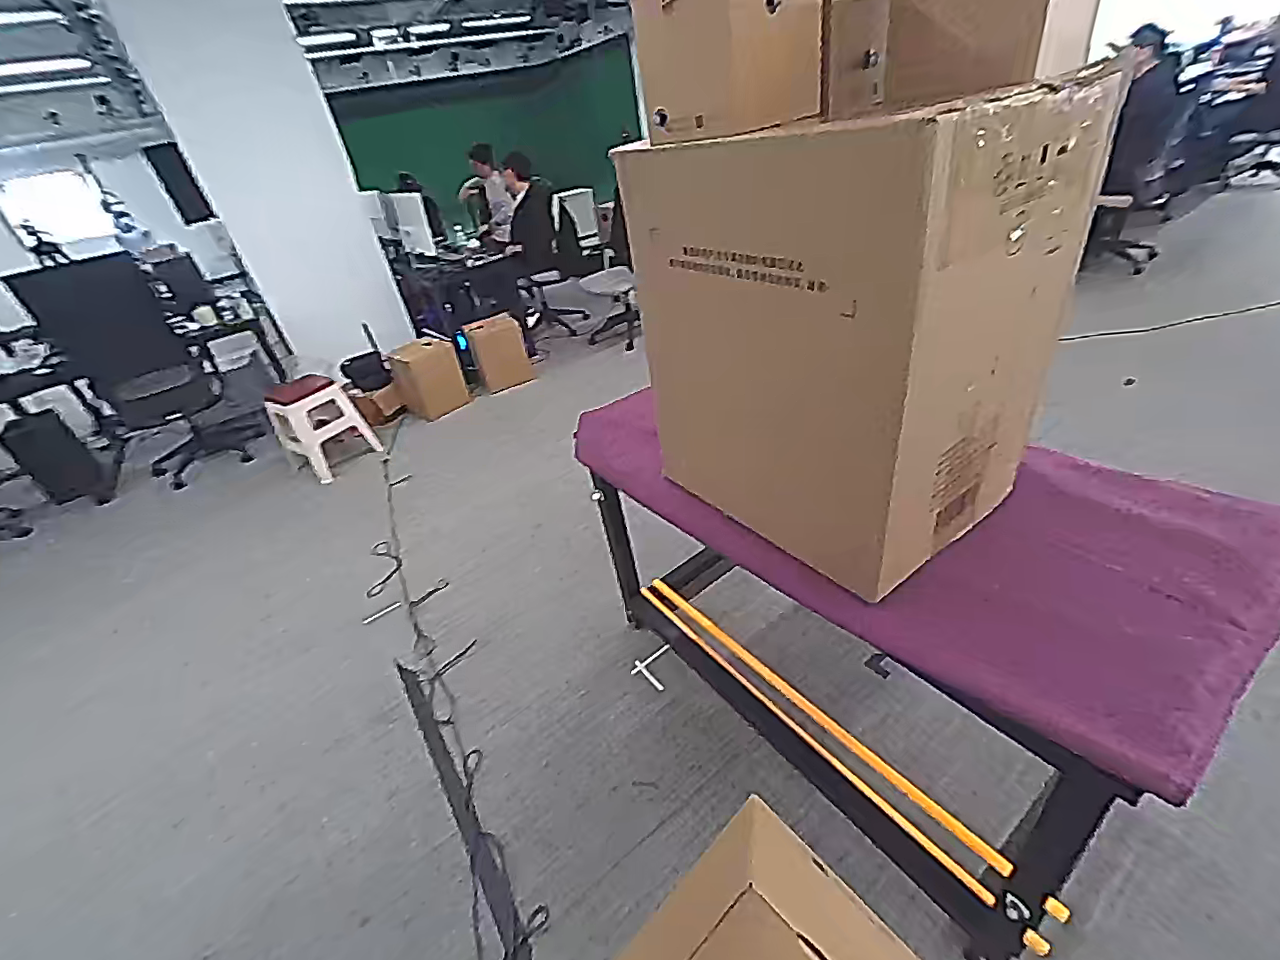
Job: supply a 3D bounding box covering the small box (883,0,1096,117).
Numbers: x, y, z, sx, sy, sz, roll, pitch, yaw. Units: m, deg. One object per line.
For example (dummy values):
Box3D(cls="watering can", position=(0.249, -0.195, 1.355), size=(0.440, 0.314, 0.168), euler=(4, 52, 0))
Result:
Box3D(cls="small box", position=(0.411, -0.549, 0.636), size=(0.168, 0.176, 0.179), euler=(-32, 37, -28))
